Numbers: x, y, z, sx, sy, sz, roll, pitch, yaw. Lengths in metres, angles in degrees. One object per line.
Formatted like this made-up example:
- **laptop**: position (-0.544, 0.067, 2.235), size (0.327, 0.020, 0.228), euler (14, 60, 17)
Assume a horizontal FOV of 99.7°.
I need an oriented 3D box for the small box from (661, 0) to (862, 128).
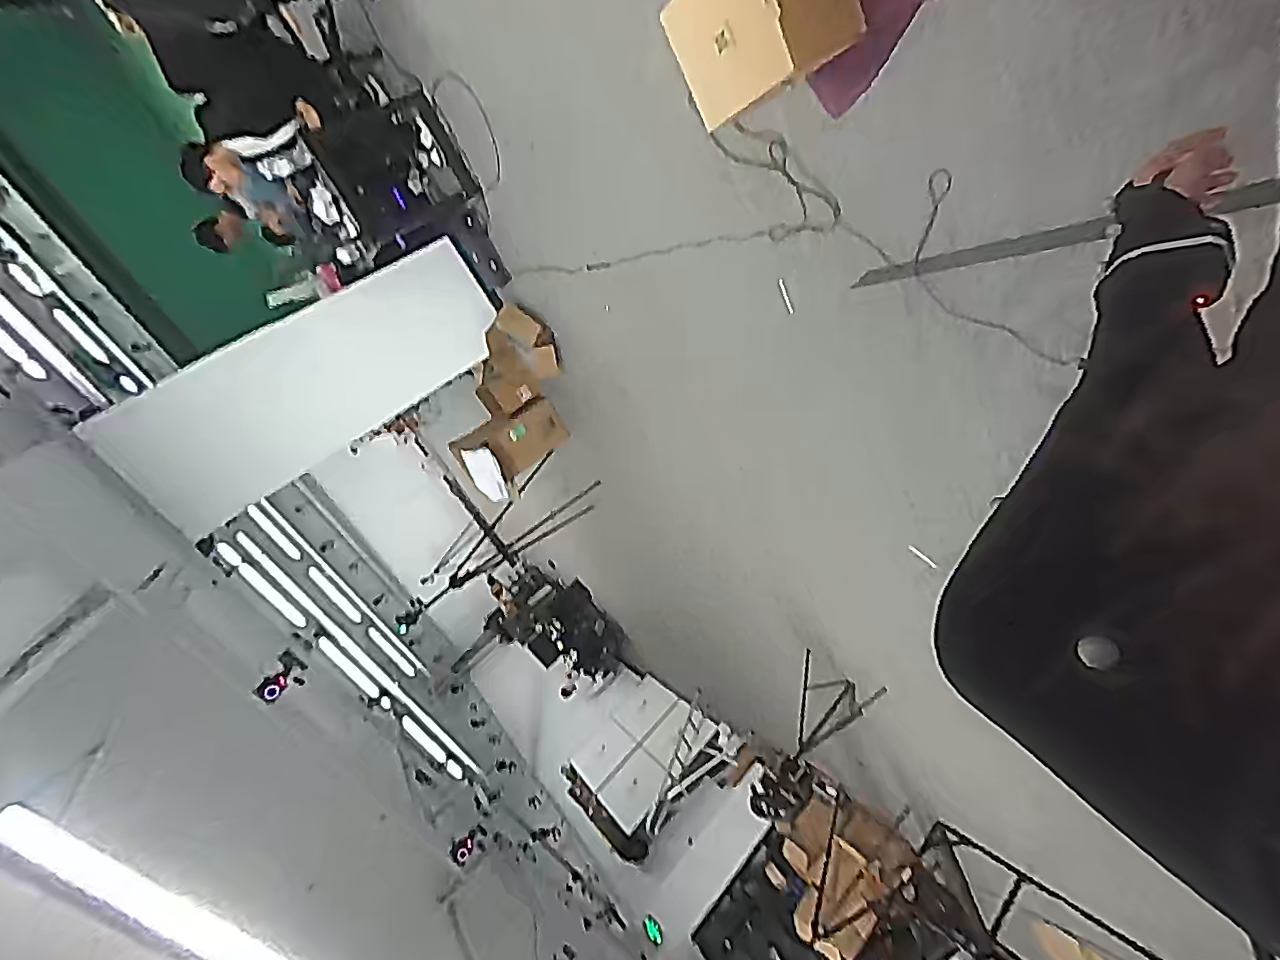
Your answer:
- **small box**: position (0.168, -0.636, 0.749), size (0.179, 0.176, 0.168), euler (7, 133, 57)
